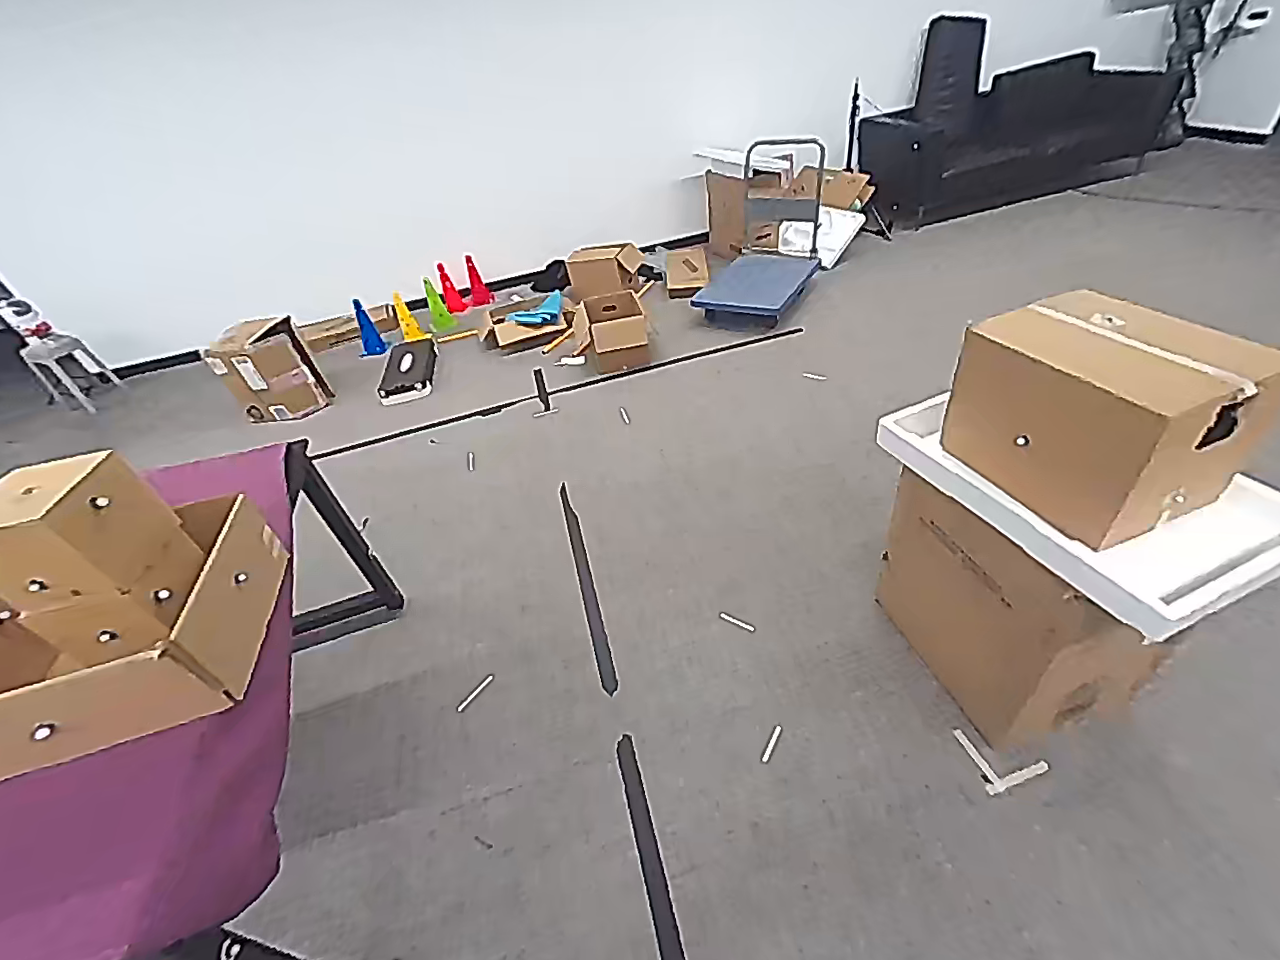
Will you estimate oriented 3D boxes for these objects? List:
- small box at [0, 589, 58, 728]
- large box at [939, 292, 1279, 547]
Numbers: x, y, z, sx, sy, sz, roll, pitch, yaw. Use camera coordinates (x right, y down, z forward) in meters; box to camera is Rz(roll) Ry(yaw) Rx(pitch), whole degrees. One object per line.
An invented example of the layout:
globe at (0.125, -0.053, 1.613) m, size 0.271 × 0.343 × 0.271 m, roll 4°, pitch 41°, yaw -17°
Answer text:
small box at (-1.144, 0.313, 0.894) m, size 0.168 × 0.176 × 0.179 m, roll -18°, pitch 39°, yaw -11°
large box at (0.902, -0.139, 1.094) m, size 0.320 × 0.320 × 0.408 m, roll -18°, pitch 38°, yaw -11°
